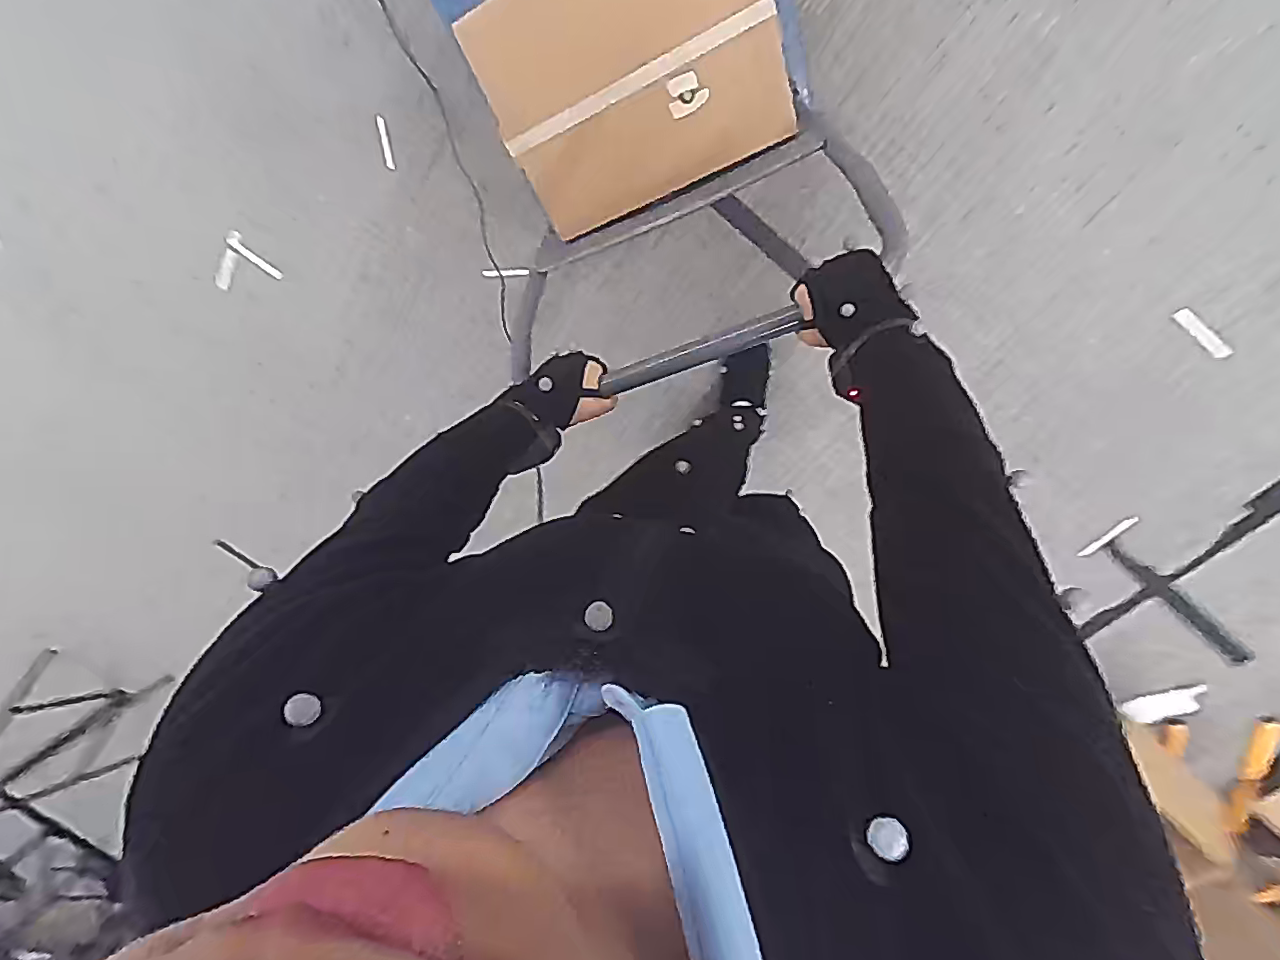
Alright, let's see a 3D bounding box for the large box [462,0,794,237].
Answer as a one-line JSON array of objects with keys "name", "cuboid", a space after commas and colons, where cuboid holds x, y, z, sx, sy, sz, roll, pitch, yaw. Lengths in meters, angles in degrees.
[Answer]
[{"name": "large box", "cuboid": [-0.007, -0.676, 0.891, 0.408, 0.320, 0.320, -18, 129, 17]}]
